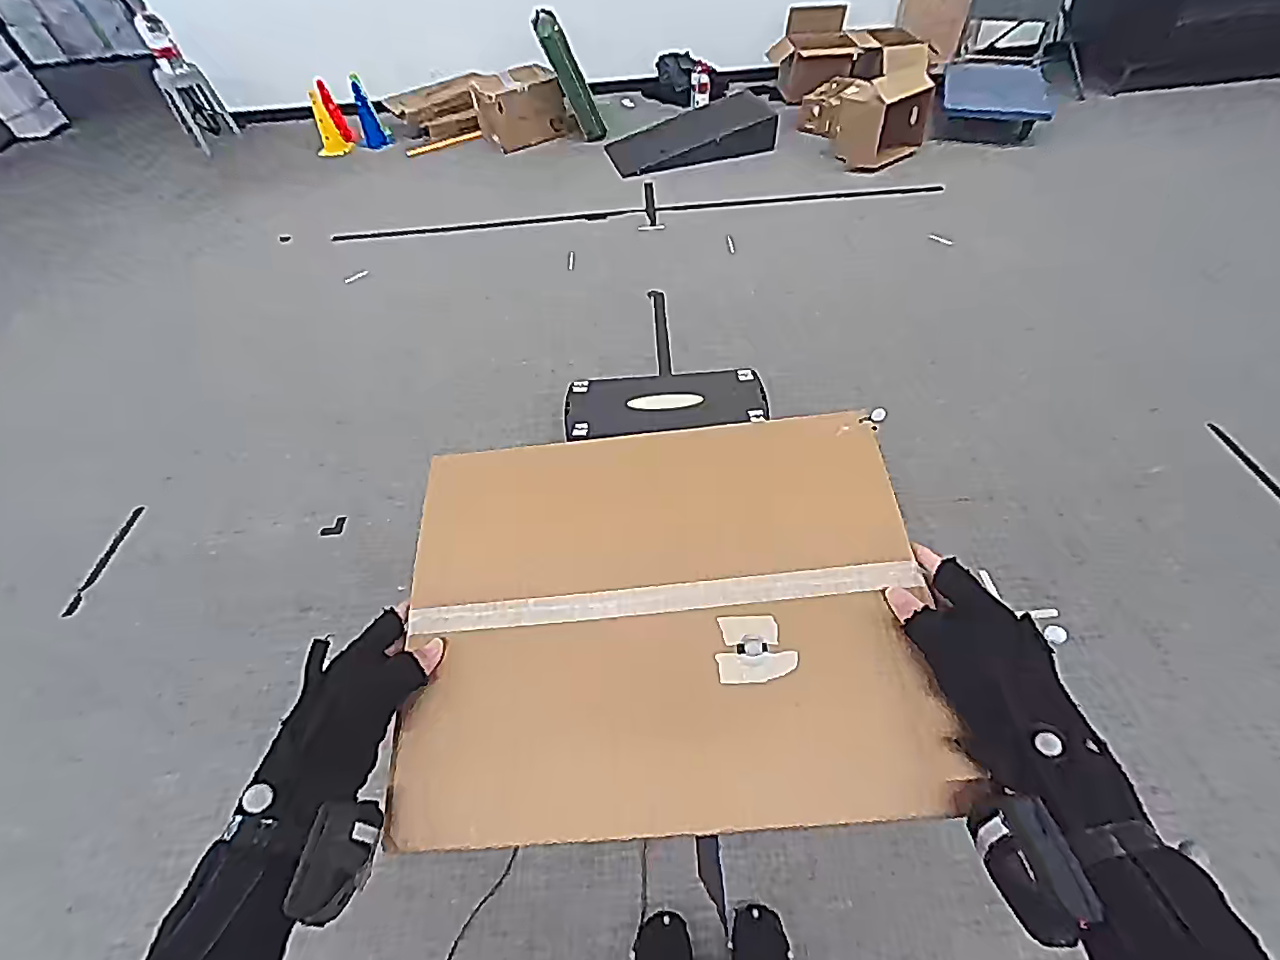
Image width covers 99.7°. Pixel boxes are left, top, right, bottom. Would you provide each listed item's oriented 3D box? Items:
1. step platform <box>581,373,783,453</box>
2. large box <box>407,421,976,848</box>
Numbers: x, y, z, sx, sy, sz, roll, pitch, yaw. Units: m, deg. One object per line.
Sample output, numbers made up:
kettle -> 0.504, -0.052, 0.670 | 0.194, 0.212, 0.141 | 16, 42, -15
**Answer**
step platform -> 0.138, -0.190, 1.859 | 0.684, 0.204, 0.286 | -4, 52, 0
large box -> 0.033, 0.172, 0.571 | 0.408, 0.320, 0.320 | -6, 62, 3
